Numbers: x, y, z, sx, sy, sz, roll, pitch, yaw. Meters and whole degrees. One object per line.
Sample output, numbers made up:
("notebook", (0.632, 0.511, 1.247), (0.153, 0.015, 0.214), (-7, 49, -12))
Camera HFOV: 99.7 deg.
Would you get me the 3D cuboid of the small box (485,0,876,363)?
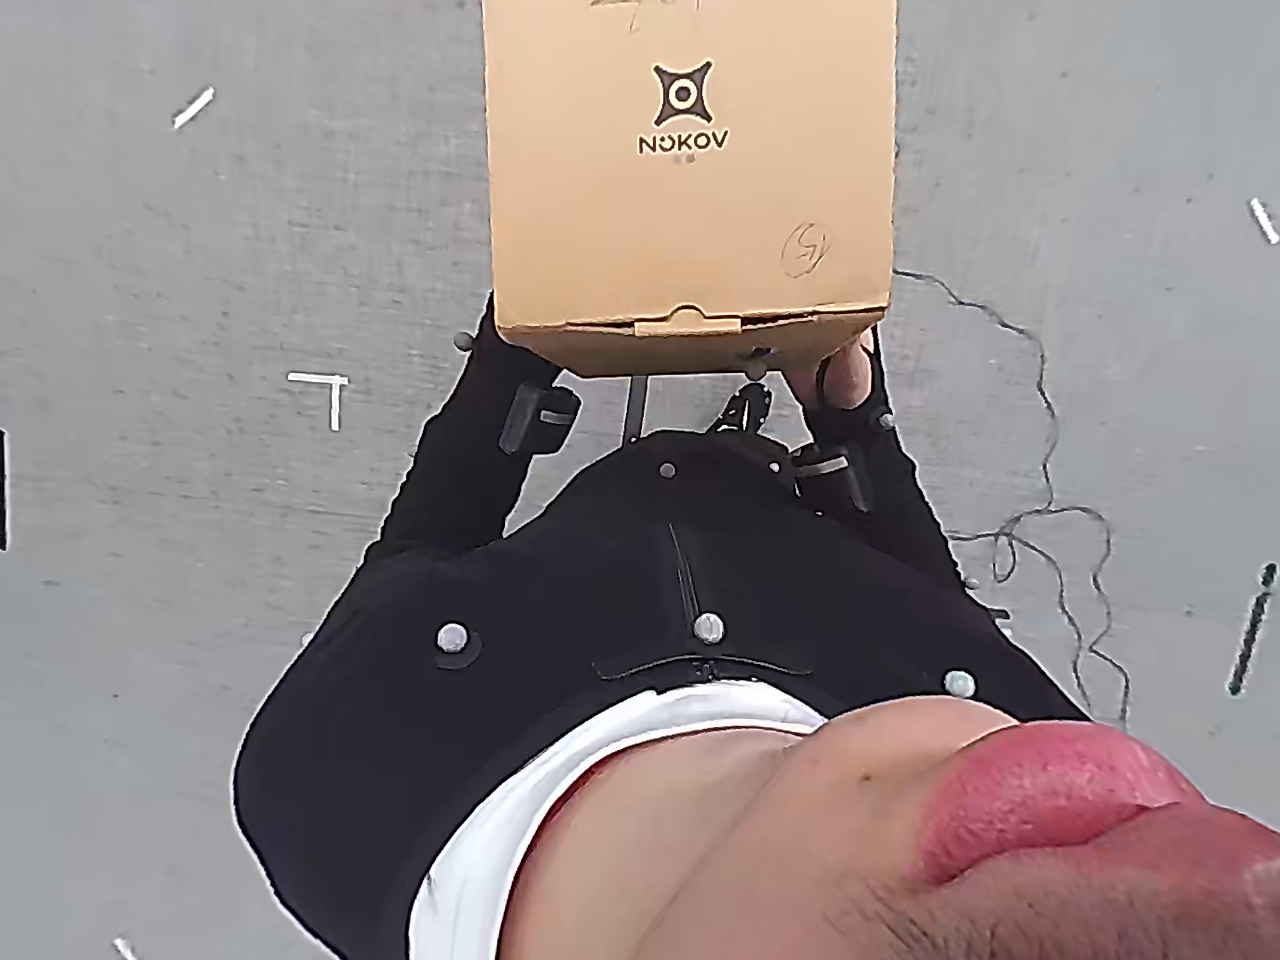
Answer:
("small box", (0.023, -0.164, 0.310), (0.168, 0.176, 0.179), (-2, 94, 5))
